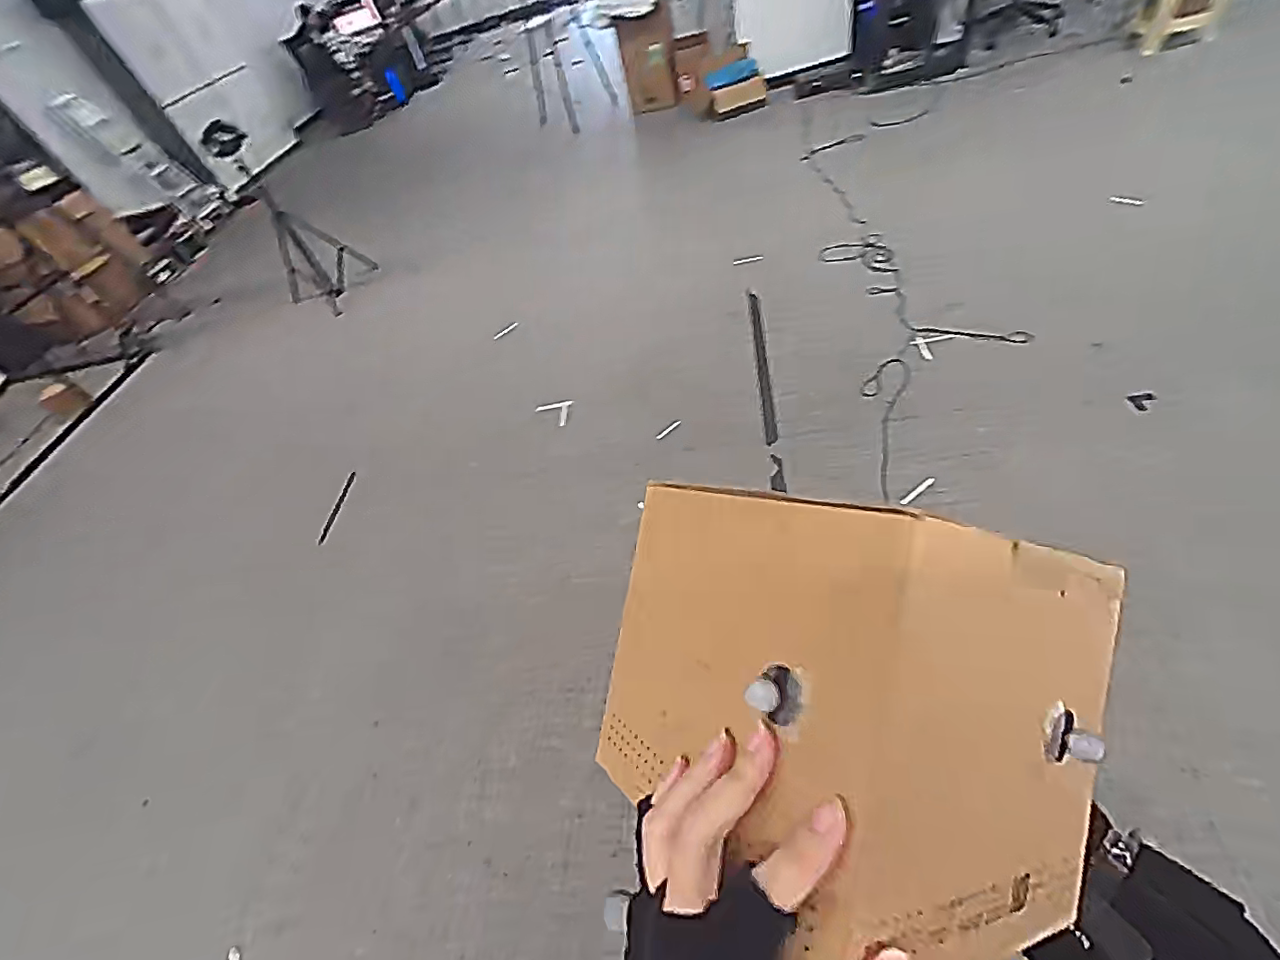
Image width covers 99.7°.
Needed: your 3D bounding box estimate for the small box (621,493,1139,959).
[{"bbox_3d":[0.107,0.107,0.284,0.179,0.168,0.176,5,84,62],"label":"small box"}]
